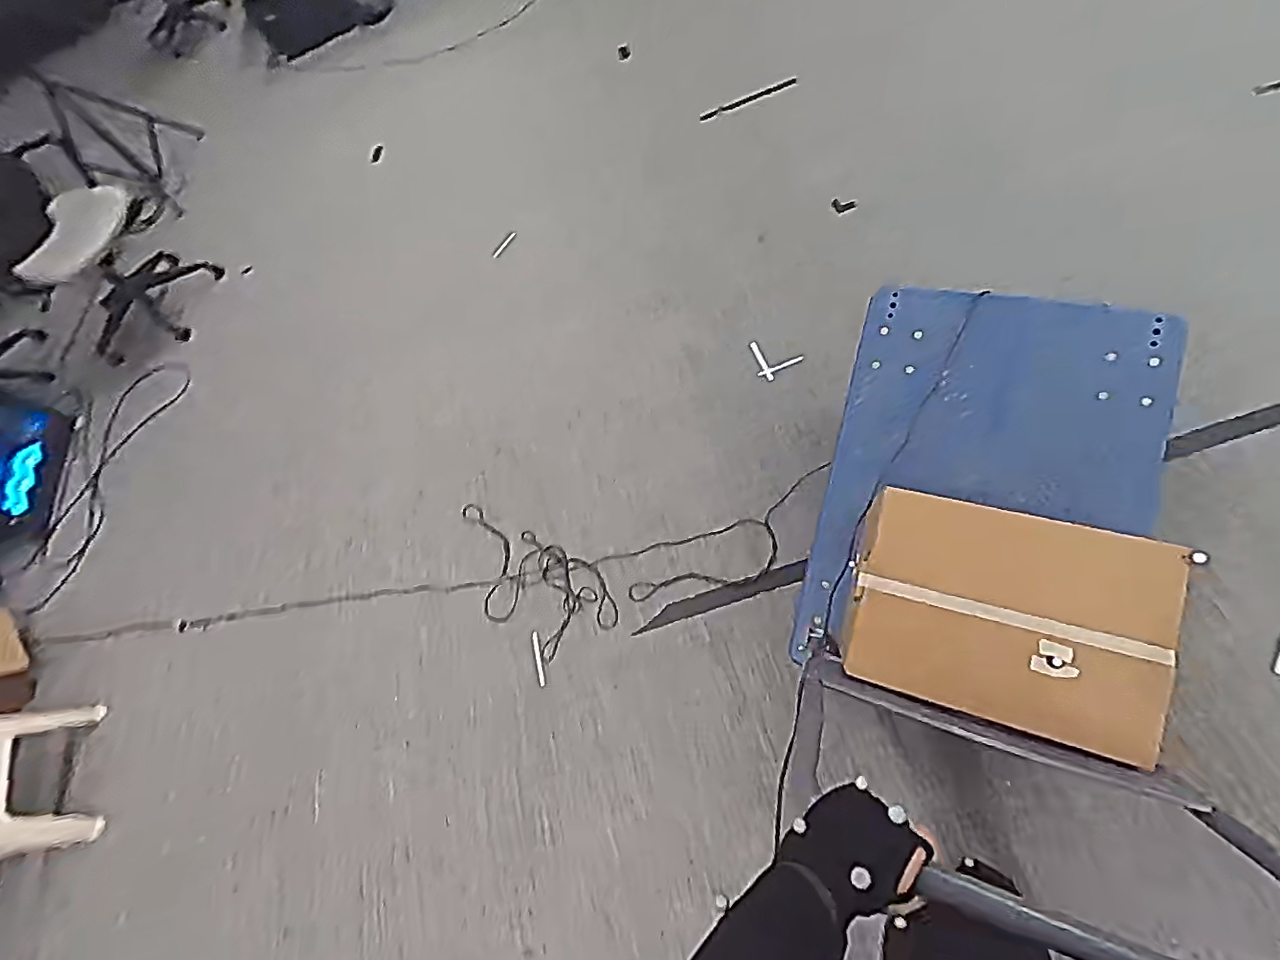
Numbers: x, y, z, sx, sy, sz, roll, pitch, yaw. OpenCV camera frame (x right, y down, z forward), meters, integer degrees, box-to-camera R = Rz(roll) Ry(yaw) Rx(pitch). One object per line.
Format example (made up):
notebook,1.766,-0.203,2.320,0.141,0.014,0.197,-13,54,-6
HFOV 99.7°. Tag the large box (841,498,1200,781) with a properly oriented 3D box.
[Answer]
large box,0.589,0.236,0.929,0.408,0.320,0.320,13,86,19
